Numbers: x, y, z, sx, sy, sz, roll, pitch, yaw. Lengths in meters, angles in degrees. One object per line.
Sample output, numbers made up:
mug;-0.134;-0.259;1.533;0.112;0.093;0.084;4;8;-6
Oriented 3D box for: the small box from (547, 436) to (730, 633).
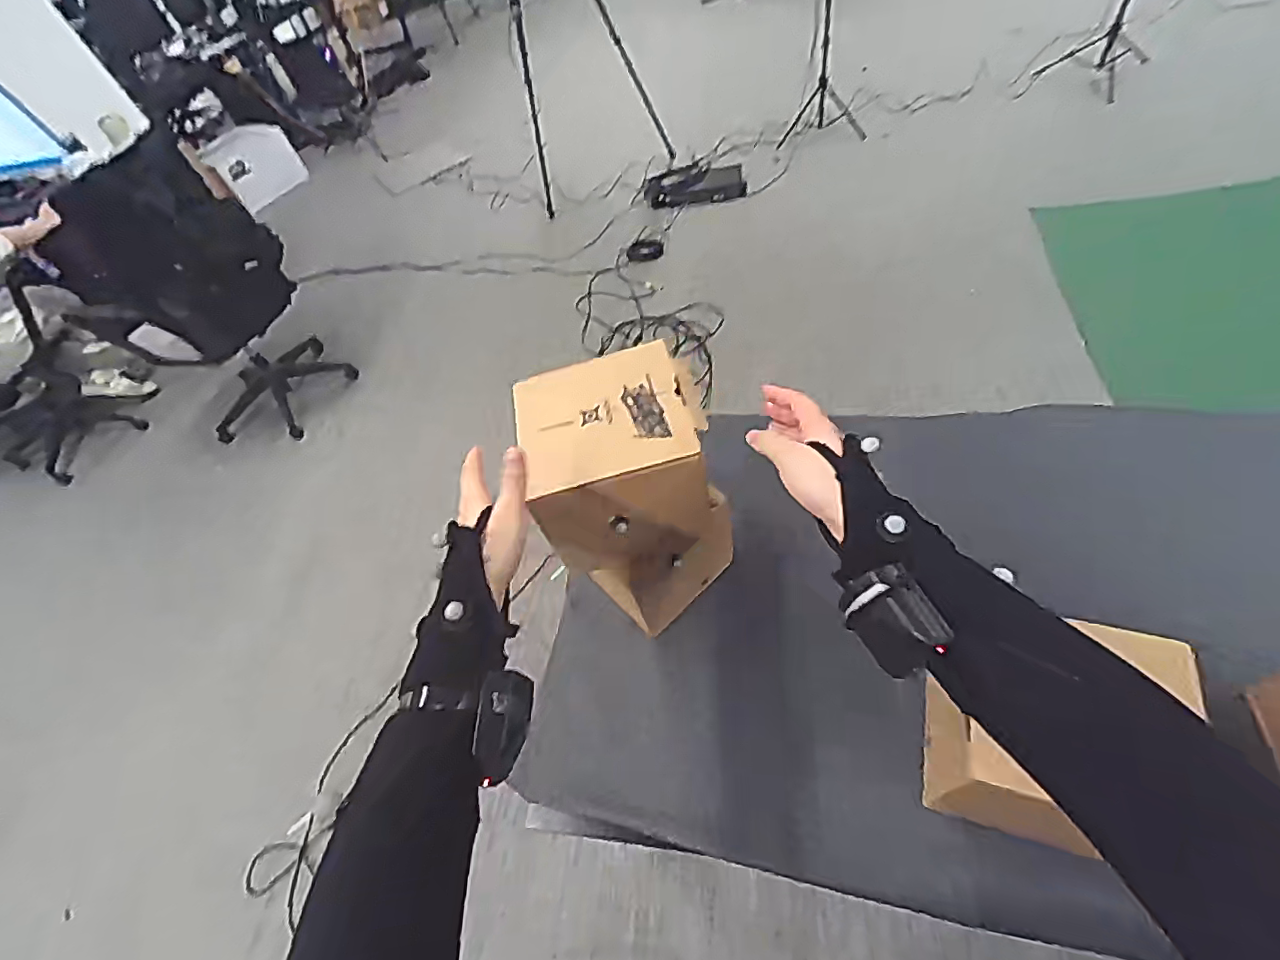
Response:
small box;0.005;0.078;0.745;0.168;0.176;0.179;-41;55;-16
